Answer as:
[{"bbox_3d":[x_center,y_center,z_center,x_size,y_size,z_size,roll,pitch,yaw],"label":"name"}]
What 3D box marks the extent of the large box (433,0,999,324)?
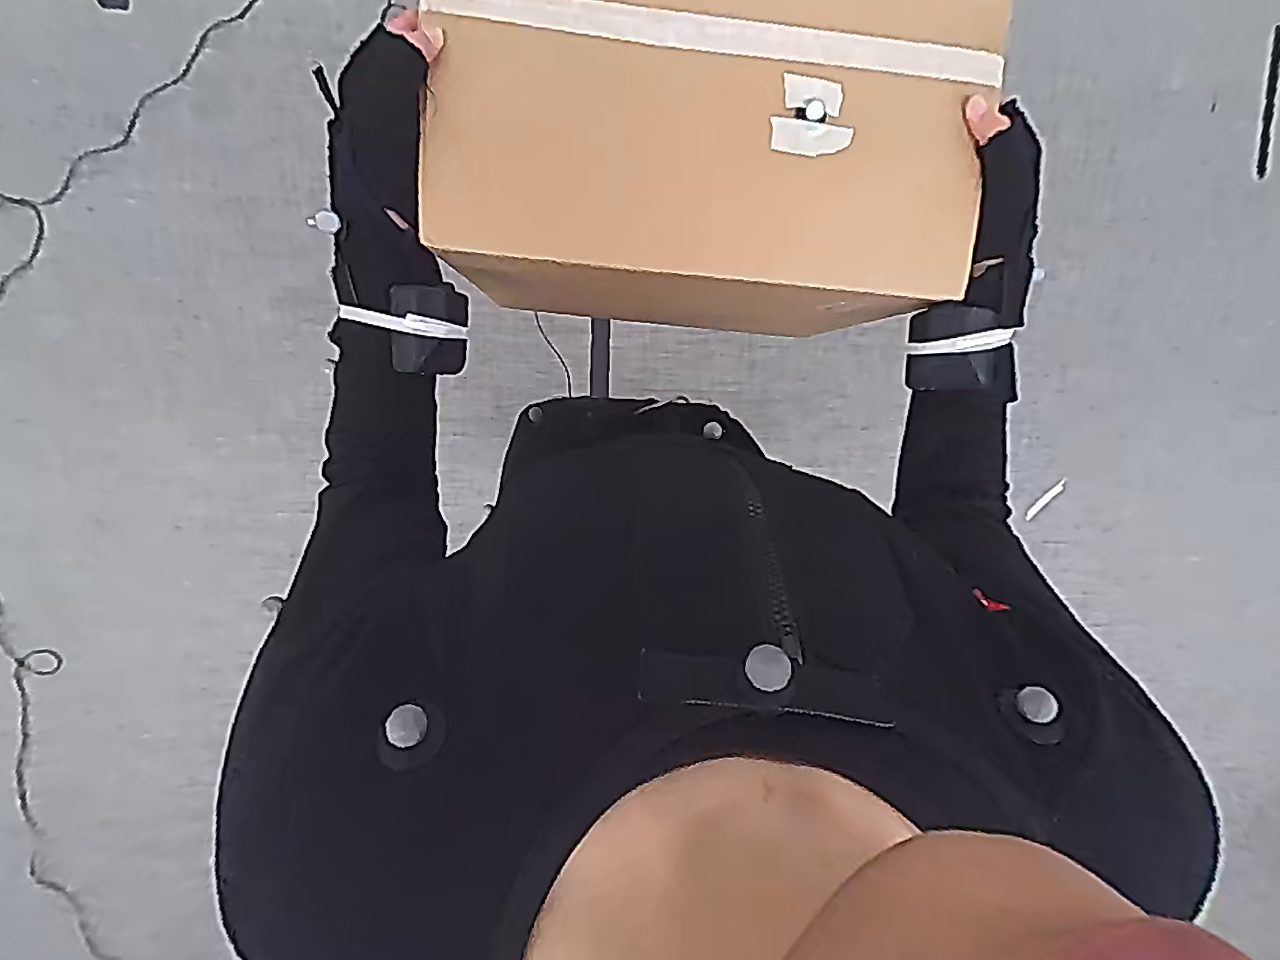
[{"bbox_3d":[0.043,-0.339,0.527,0.408,0.320,0.320,4,101,-6],"label":"large box"}]
